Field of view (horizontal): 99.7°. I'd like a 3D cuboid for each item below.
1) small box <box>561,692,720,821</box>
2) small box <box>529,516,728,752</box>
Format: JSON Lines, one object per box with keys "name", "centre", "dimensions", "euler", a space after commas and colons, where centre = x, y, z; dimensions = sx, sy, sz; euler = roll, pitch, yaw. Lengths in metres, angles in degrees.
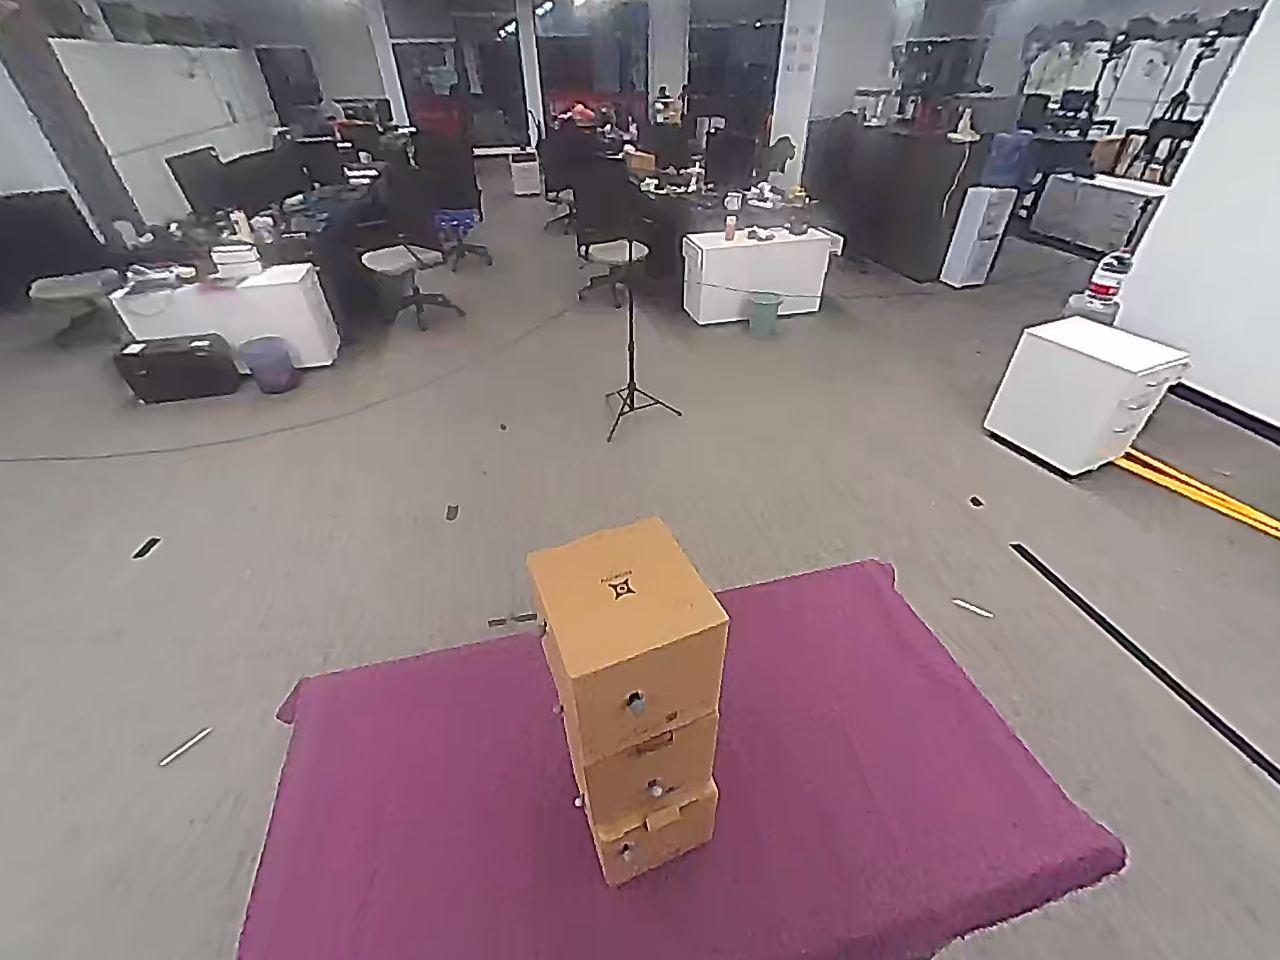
{"name": "small box", "centre": [-0.011, 0.302, 0.713], "dimensions": [0.168, 0.176, 0.179], "euler": [-13, 39, -15]}
{"name": "small box", "centre": [-0.015, 0.175, 0.612], "dimensions": [0.168, 0.176, 0.179], "euler": [-15, 38, -17]}
